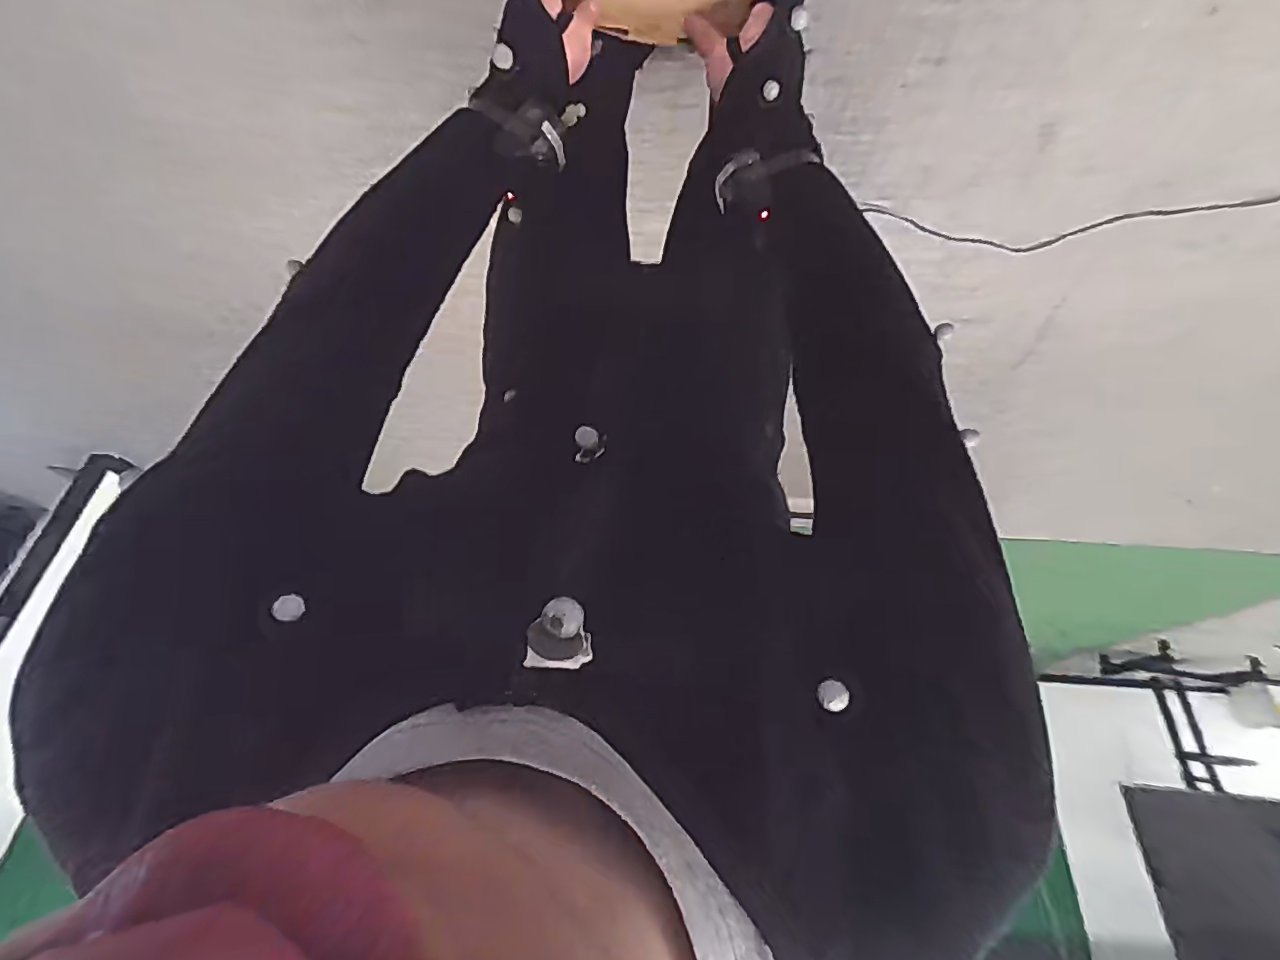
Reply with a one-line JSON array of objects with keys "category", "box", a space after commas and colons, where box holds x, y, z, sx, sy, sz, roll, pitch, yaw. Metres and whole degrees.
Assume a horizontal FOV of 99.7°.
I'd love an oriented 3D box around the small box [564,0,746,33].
[{"category": "small box", "box": [0.028, -0.527, 0.472, 0.168, 0.176, 0.179, 8, 137, -1]}]
